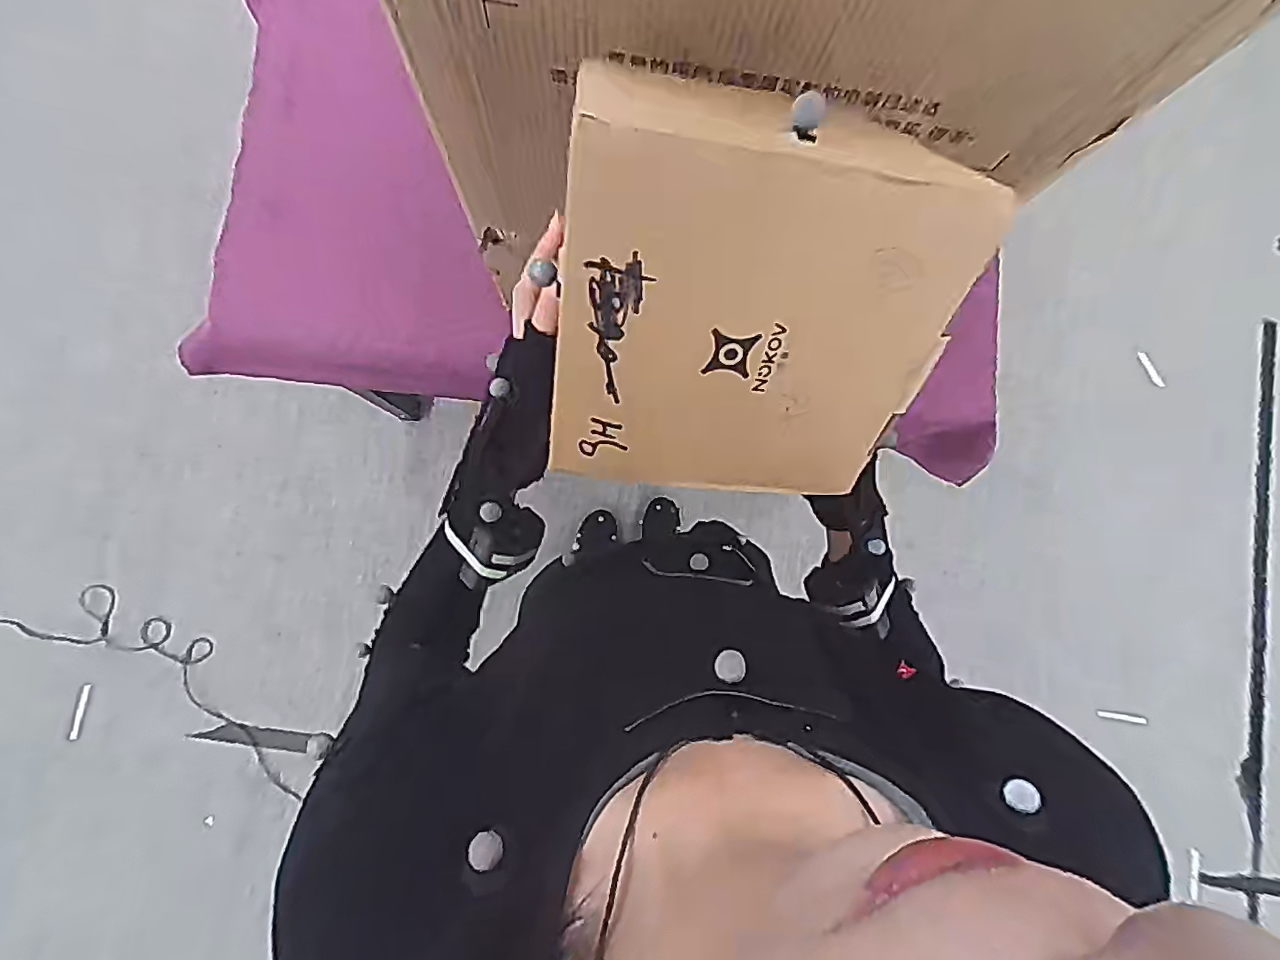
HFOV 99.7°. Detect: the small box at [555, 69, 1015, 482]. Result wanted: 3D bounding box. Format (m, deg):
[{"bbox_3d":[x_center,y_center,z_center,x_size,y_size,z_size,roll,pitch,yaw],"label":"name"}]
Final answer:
[{"bbox_3d":[0.046,-0.118,0.310,0.179,0.176,0.168,4,129,-10],"label":"small box"}]
